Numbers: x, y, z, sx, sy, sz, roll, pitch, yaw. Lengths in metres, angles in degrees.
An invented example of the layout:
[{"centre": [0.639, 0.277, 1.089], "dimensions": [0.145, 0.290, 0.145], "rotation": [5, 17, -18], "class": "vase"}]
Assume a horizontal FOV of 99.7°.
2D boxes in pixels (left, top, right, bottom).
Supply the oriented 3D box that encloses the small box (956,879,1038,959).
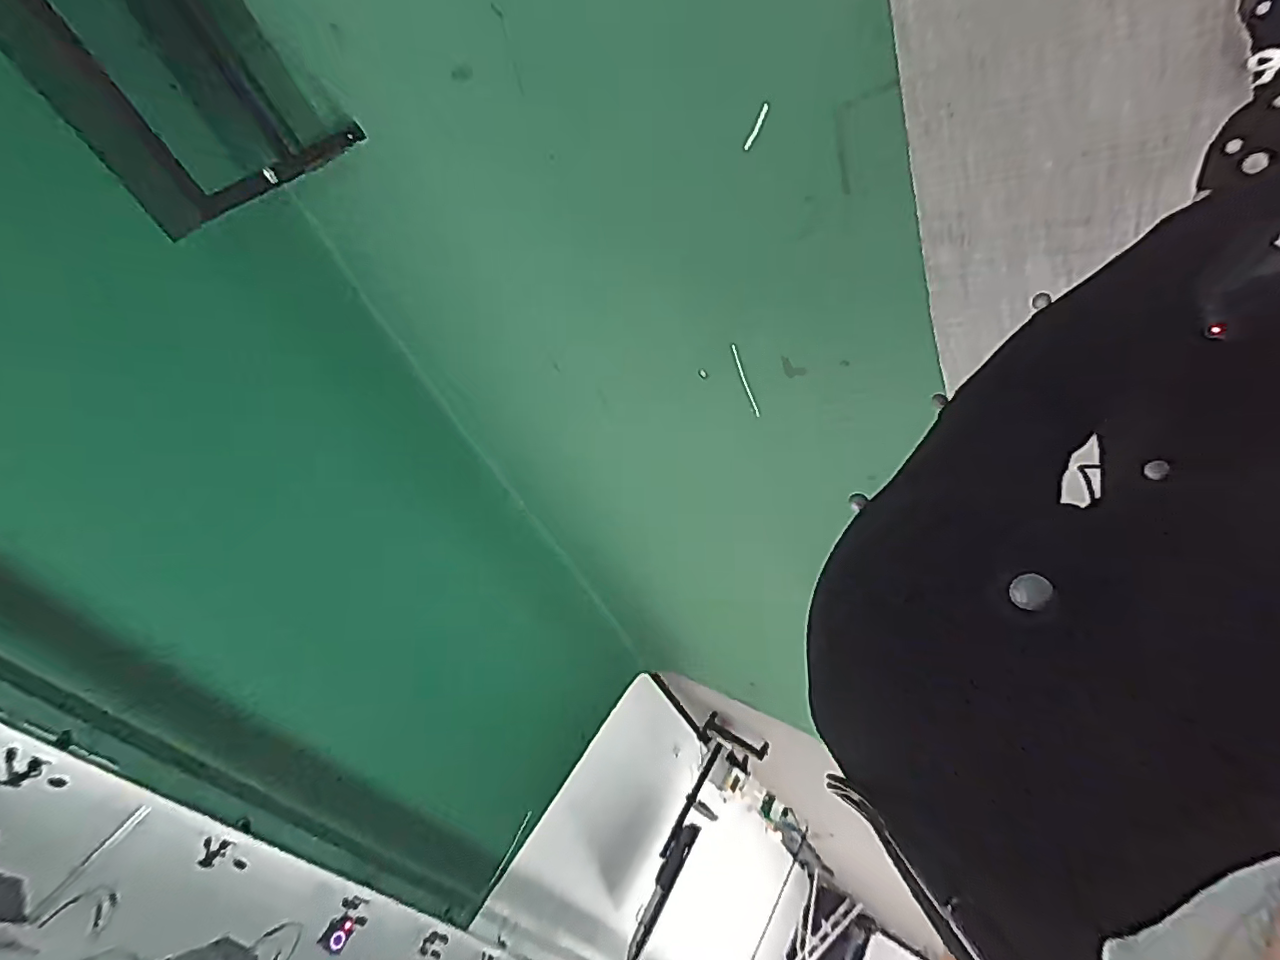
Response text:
[{"centre": [1.042, 1.312, 1.574], "dimensions": [0.168, 0.176, 0.179], "rotation": [8, 140, 45], "class": "small box"}]
